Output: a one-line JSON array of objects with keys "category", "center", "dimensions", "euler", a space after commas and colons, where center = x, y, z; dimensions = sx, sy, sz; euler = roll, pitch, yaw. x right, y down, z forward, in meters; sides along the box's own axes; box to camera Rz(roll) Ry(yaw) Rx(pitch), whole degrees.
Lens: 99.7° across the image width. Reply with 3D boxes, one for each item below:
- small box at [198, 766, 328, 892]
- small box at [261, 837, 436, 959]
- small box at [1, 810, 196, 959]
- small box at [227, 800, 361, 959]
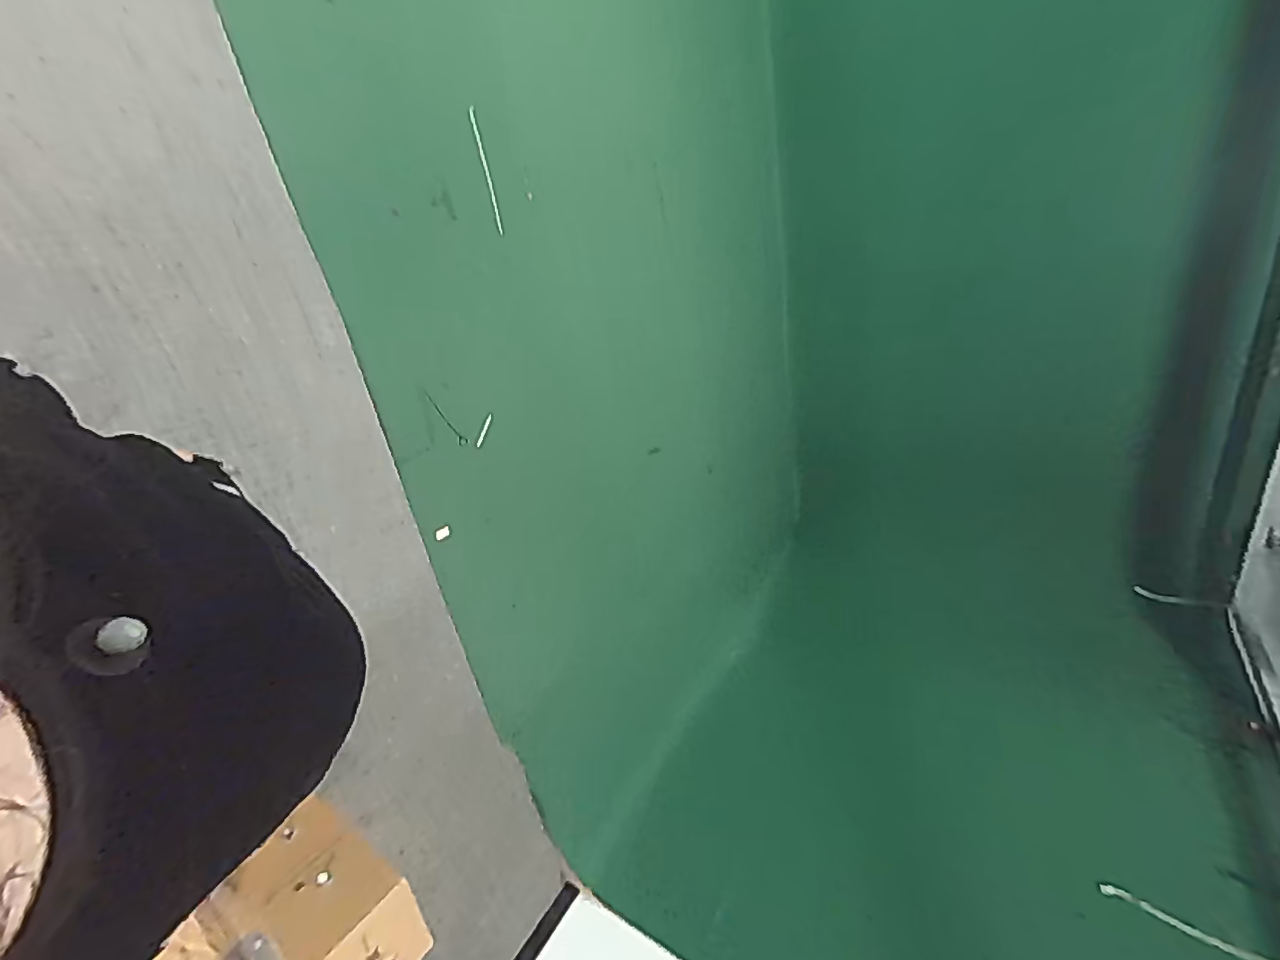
[{"category": "small box", "center": [-0.729, 0.705, 1.072], "dimensions": [0.168, 0.176, 0.179], "euler": [-32, 123, -47]}, {"category": "small box", "center": [-0.469, 0.733, 0.876], "dimensions": [0.168, 0.176, 0.179], "euler": [-32, 121, -48]}, {"category": "small box", "center": [-0.866, 0.683, 0.871], "dimensions": [0.168, 0.176, 0.179], "euler": [-30, 121, -48]}, {"category": "small box", "center": [-0.599, 0.727, 0.976], "dimensions": [0.168, 0.176, 0.179], "euler": [-32, 120, -47]}]
